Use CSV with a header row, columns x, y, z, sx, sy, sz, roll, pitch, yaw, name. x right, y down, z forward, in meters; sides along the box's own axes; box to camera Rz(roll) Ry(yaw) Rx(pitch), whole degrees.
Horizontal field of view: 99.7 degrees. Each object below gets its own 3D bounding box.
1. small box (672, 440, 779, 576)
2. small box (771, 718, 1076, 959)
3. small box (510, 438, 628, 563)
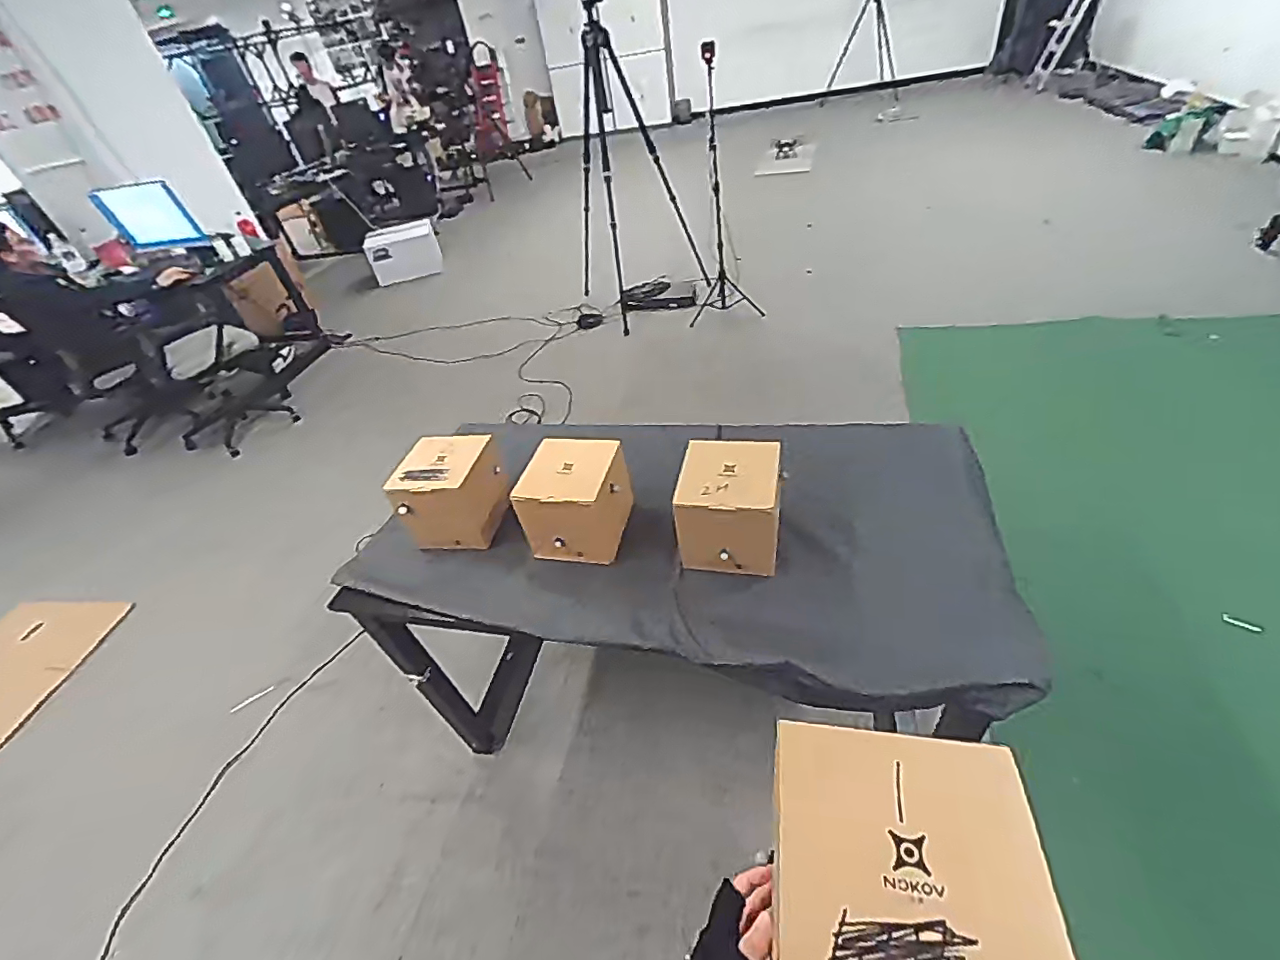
x,y,z,sx,sy,sz,roll,pitch,yaw,name
0.160,0.047,0.981,0.168,0.176,0.179,3,43,16,small box
0.187,0.309,0.402,0.168,0.176,0.179,2,42,13,small box
-0.127,0.037,1.060,0.168,0.176,0.179,3,43,15,small box
